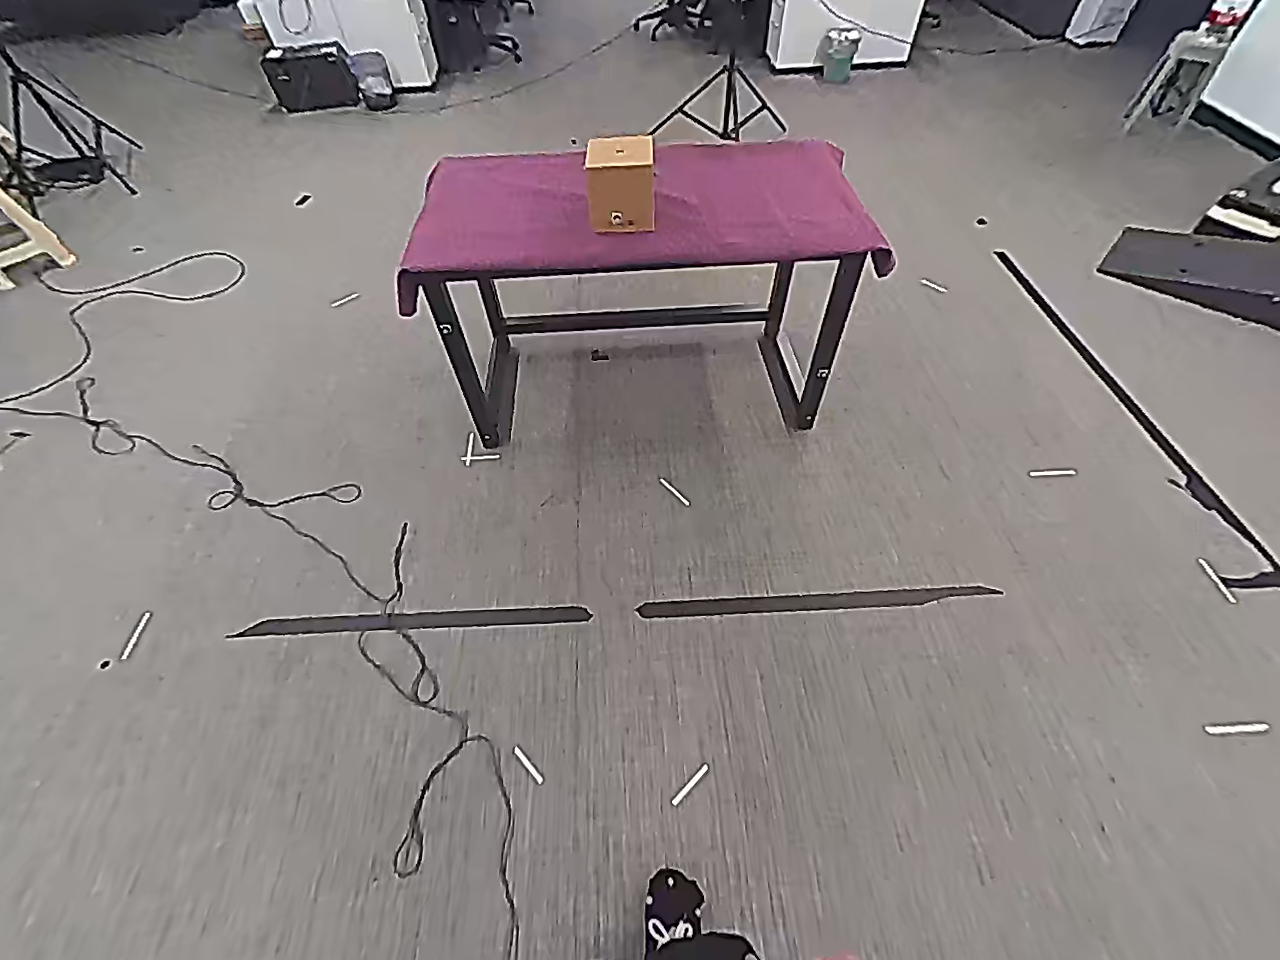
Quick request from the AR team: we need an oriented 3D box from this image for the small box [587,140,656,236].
[{"bbox_3d":[-0.045,-0.757,1.405,0.168,0.176,0.179,-2,53,2],"label":"small box"}]
